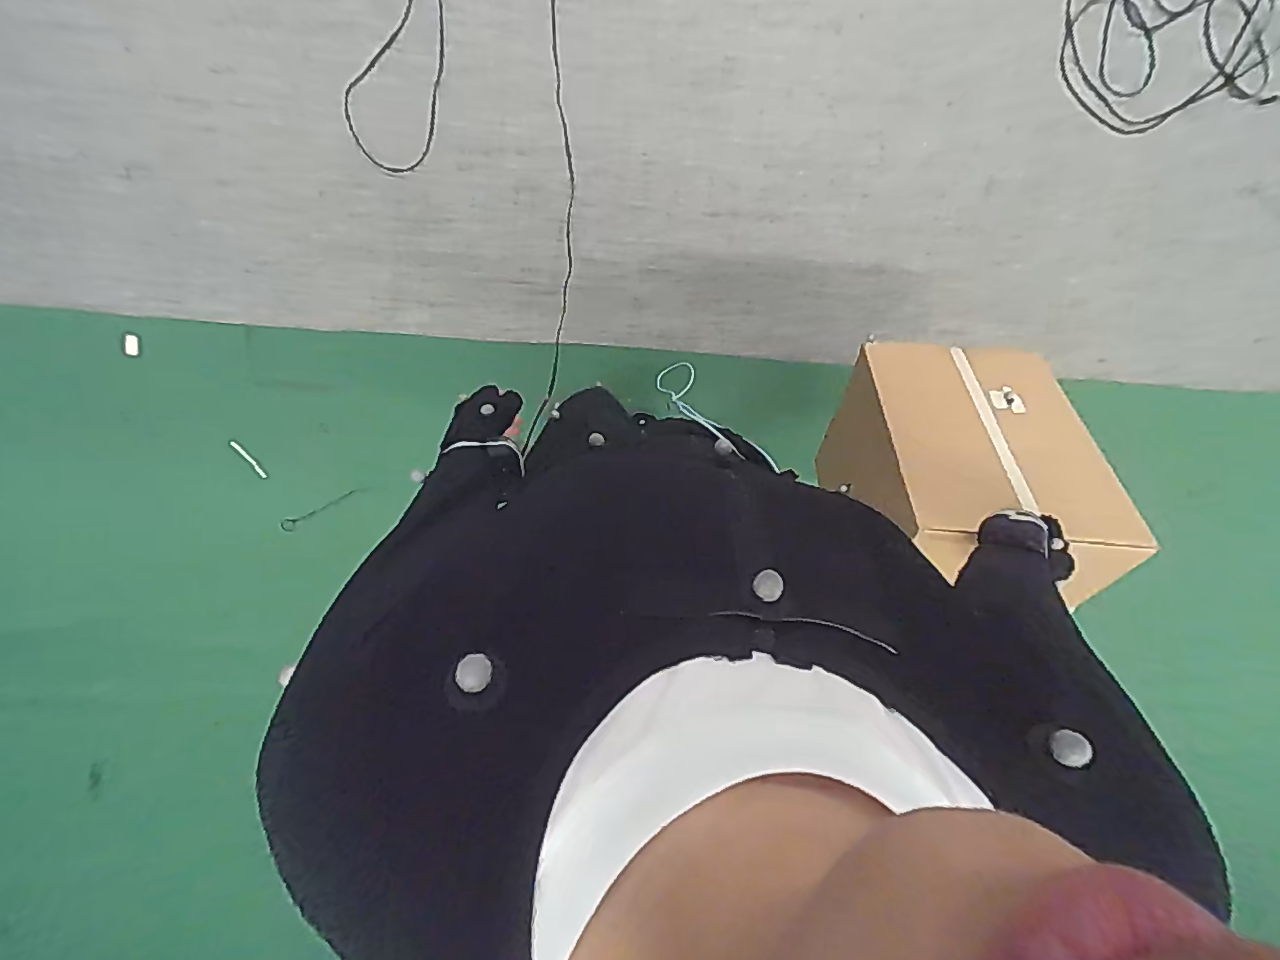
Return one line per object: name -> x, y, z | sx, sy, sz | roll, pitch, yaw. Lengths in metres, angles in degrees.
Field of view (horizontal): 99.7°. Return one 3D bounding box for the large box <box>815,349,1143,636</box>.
large box -> 0.526, 0.022, 0.958 | 0.320, 0.408, 0.320 | 5, 140, 1
